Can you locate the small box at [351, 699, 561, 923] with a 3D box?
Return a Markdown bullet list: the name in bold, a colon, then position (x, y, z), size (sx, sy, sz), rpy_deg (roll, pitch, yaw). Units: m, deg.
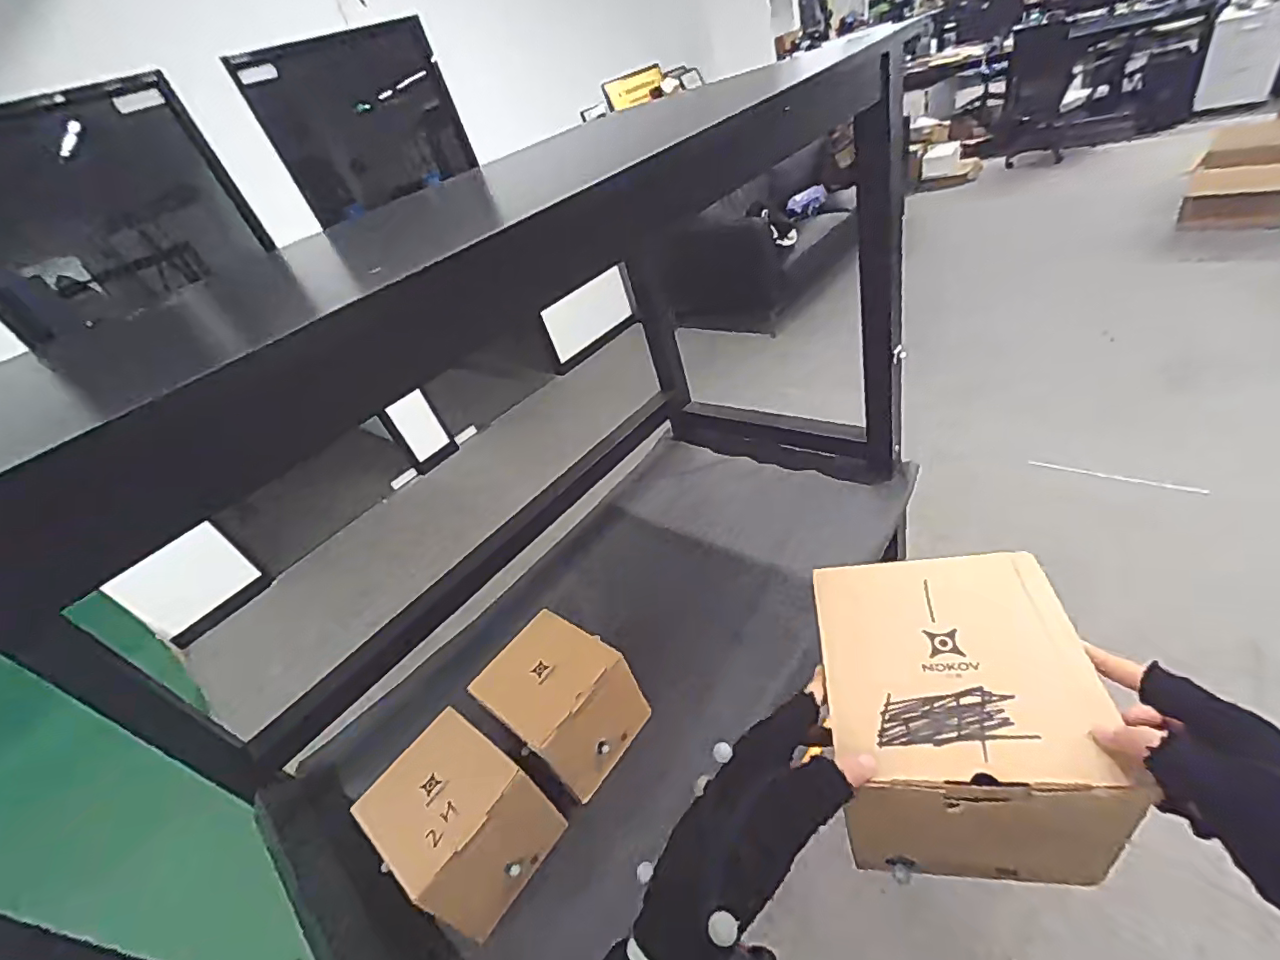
- **small box**: position (-0.240, 0.442, 0.729), size (0.179, 0.176, 0.168), rpy_deg (16, 49, 40)
